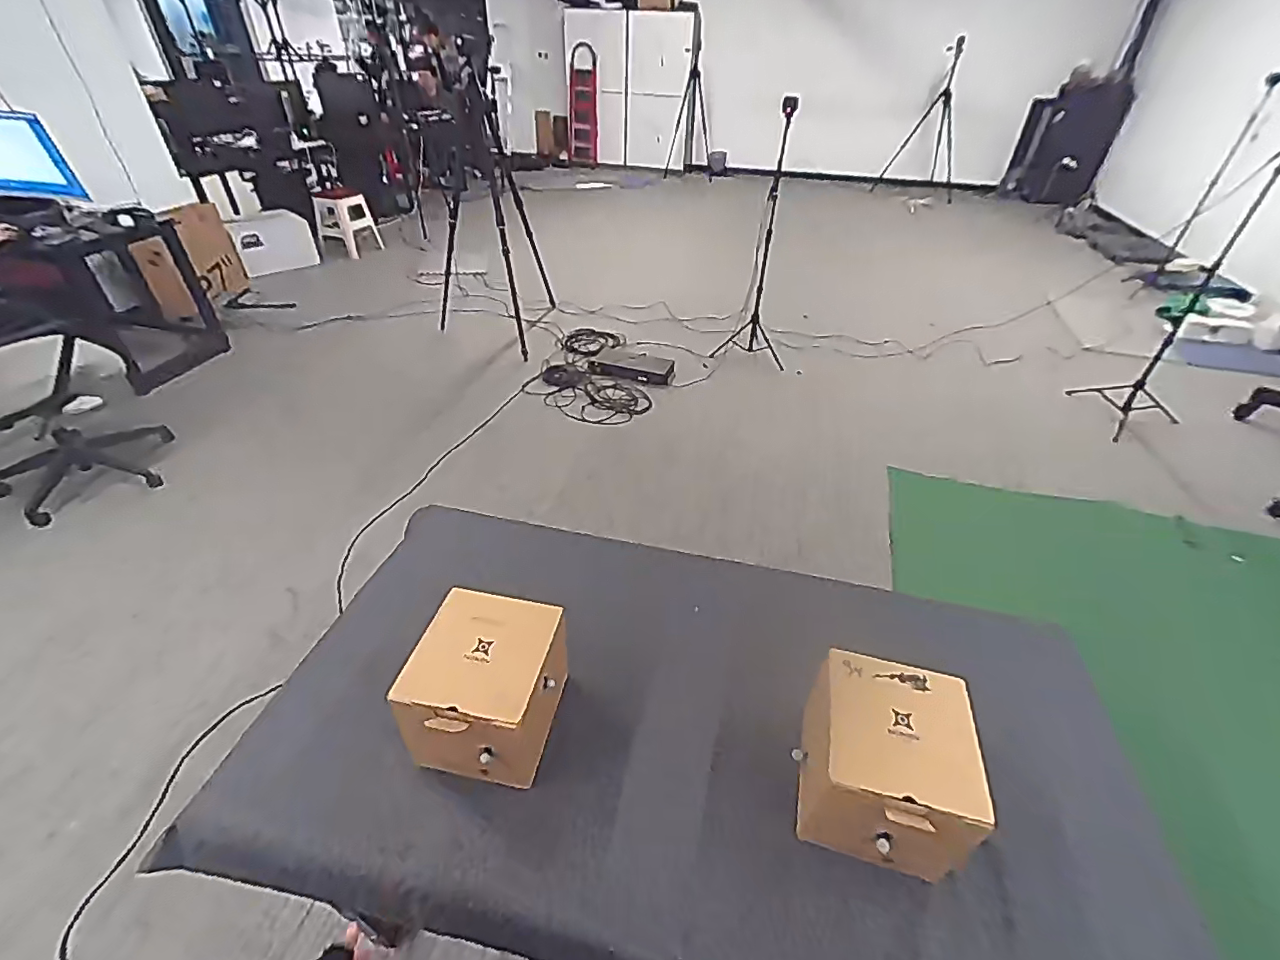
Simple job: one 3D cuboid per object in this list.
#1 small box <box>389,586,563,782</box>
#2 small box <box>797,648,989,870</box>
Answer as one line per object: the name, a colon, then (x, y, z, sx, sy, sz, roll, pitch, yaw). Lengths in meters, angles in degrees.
small box: (-0.205, 0.277, 0.737, 0.168, 0.176, 0.179, 9, 37, 6)
small box: (0.298, 0.347, 0.675, 0.168, 0.176, 0.179, 11, 40, 11)
